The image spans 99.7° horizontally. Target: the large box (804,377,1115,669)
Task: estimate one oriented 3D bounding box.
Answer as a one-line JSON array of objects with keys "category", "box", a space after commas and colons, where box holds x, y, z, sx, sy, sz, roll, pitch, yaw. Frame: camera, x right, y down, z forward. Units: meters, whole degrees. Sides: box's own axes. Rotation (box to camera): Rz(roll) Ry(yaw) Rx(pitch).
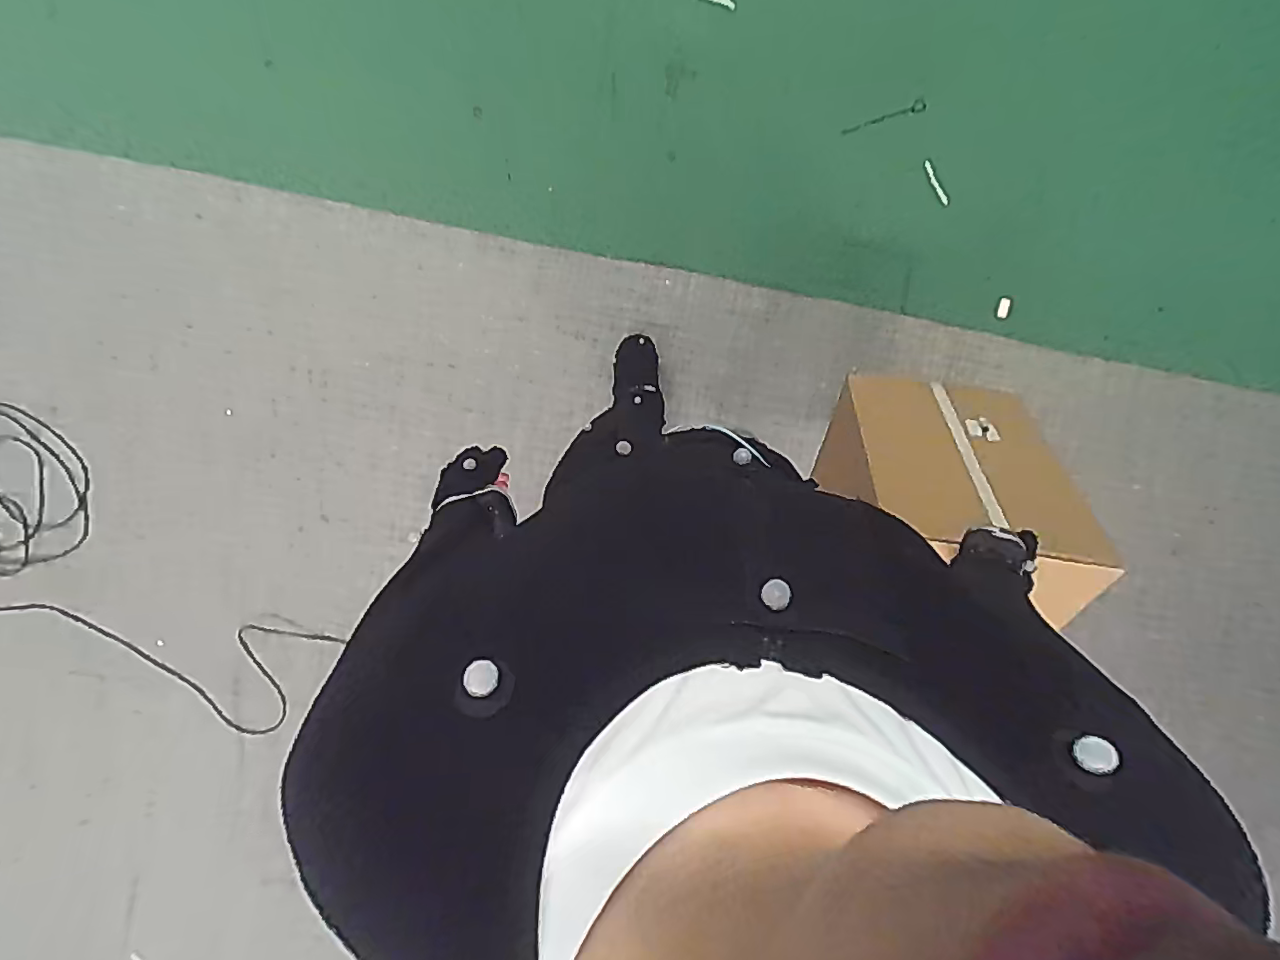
[{"category": "large box", "box": [0.499, 0.067, 0.967, 0.320, 0.408, 0.320, 9, 133, 3]}]
